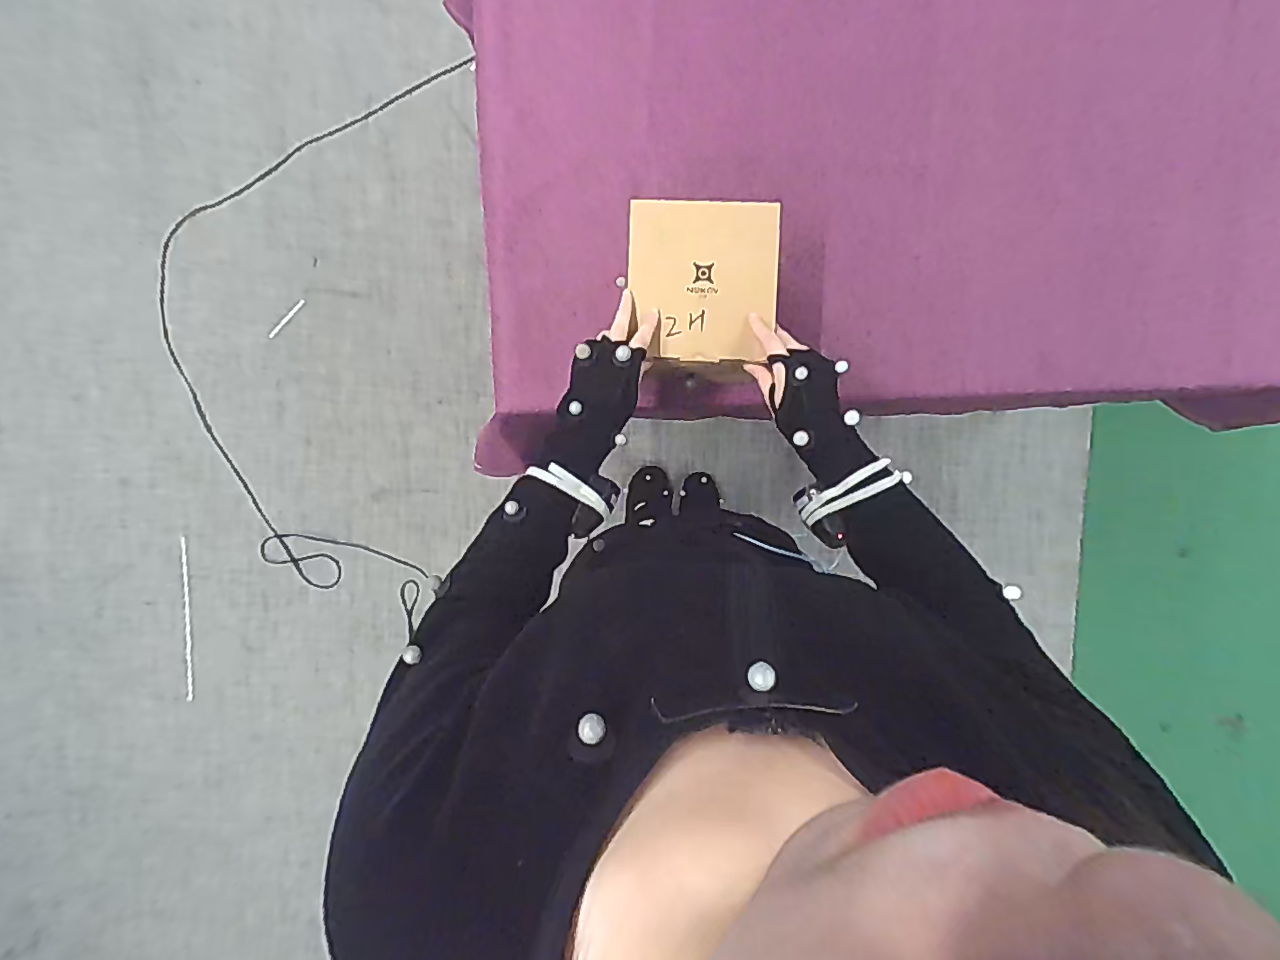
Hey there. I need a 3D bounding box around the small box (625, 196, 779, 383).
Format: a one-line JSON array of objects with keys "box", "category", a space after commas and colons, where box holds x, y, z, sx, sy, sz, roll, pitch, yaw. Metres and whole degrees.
[{"box": [0.069, -0.224, 0.672, 0.168, 0.176, 0.179, 2, 92, 2], "category": "small box"}]
